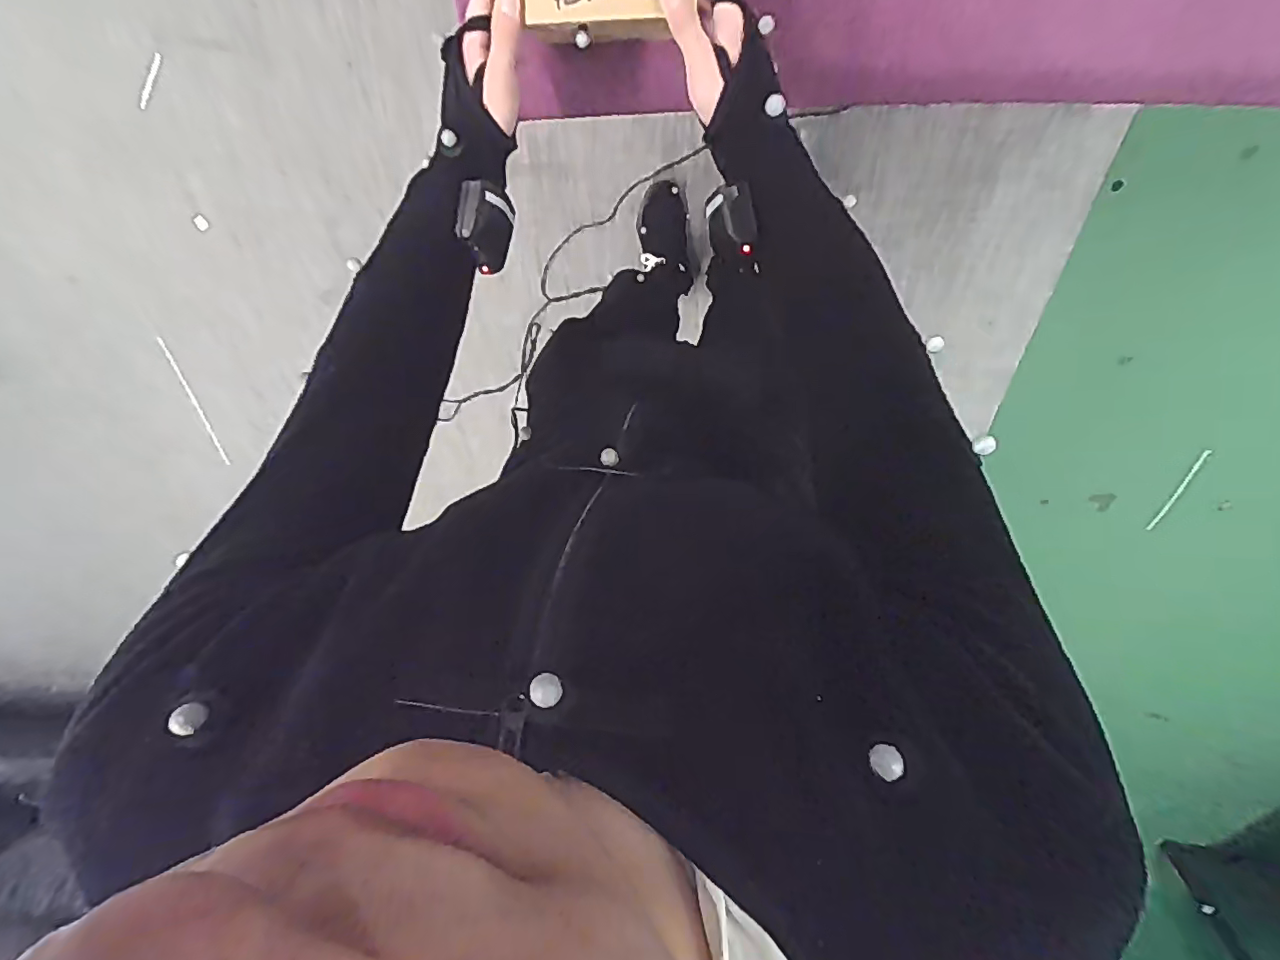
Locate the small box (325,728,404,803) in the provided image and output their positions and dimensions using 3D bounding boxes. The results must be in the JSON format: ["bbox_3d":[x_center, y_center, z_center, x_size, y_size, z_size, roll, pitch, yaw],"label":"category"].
[{"bbox_3d":[-0.991,1.028,1.955,0.179,0.176,0.168,32,121,-19],"label":"small box"}]

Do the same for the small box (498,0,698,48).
[{"bbox_3d":[-0.032,-0.490,0.463,0.168,0.176,0.179,1,126,4],"label":"small box"}]
